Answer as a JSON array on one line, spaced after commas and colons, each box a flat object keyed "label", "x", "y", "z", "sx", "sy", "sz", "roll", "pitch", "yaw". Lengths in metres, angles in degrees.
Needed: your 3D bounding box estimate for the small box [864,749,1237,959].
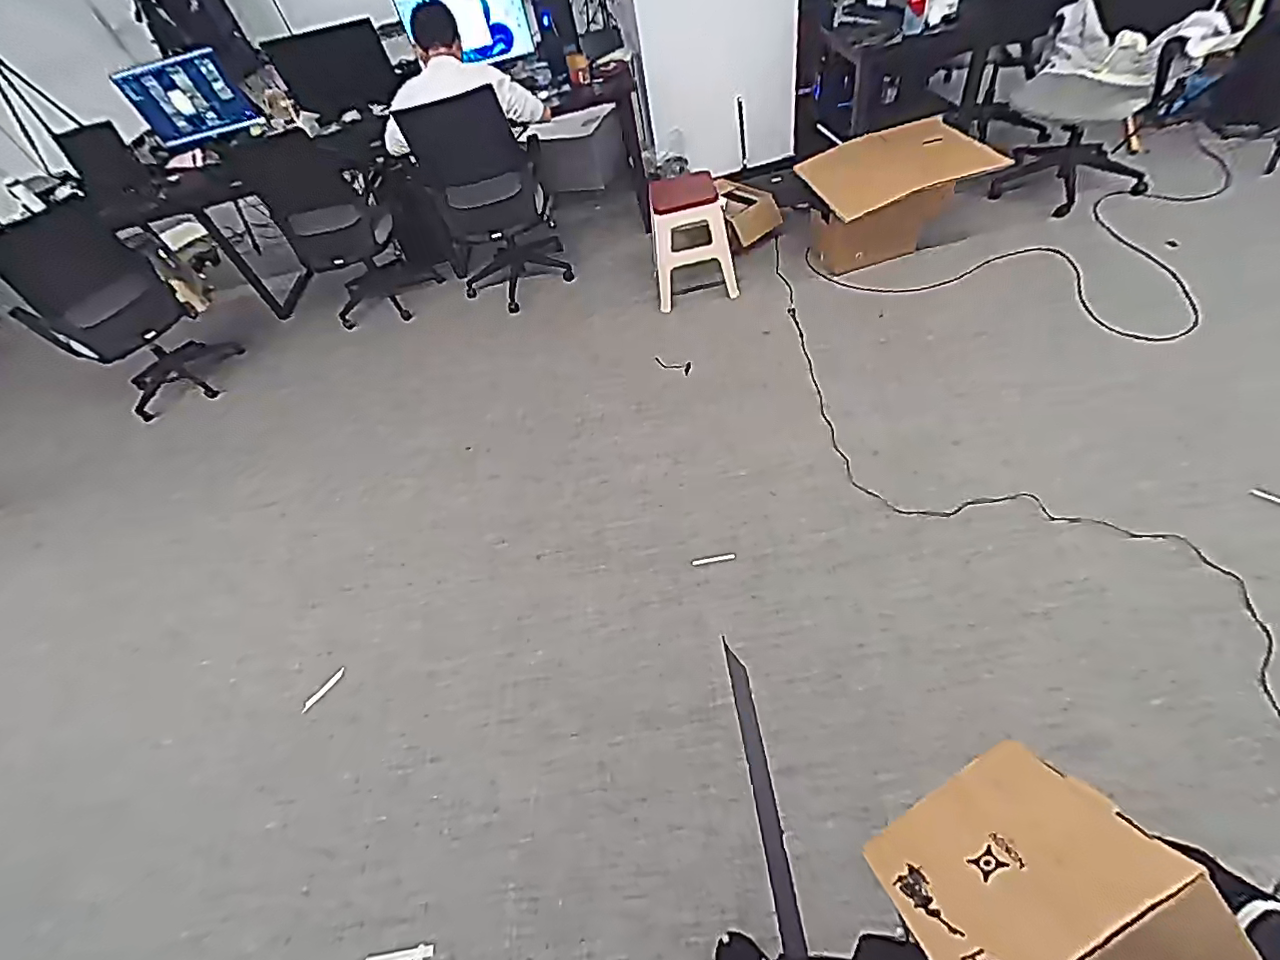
[{"label": "small box", "x": 0.326, "y": 0.368, "z": 0.430, "sx": 0.179, "sy": 0.168, "sz": 0.176, "roll": -35, "pitch": 92, "yaw": -1}]
